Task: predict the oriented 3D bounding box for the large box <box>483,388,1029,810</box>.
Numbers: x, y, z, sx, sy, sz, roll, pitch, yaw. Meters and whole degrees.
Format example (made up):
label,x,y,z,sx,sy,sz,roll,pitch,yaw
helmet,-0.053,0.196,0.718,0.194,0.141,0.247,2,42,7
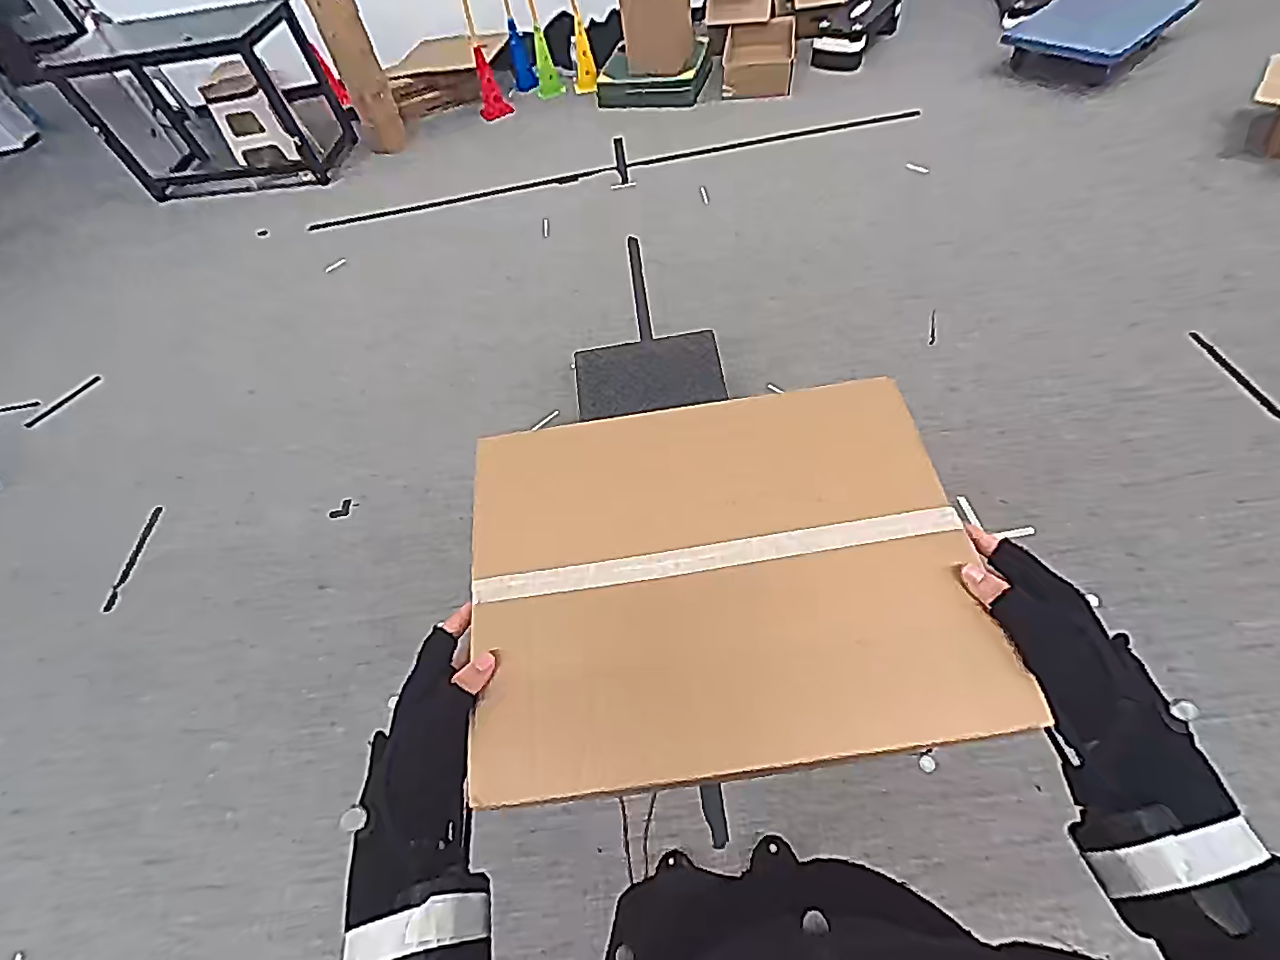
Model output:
label,x,y,z,sx,sy,sz,roll,pitch,yaw
large box,0.077,0.142,0.585,0.408,0.320,0.320,-8,60,0
